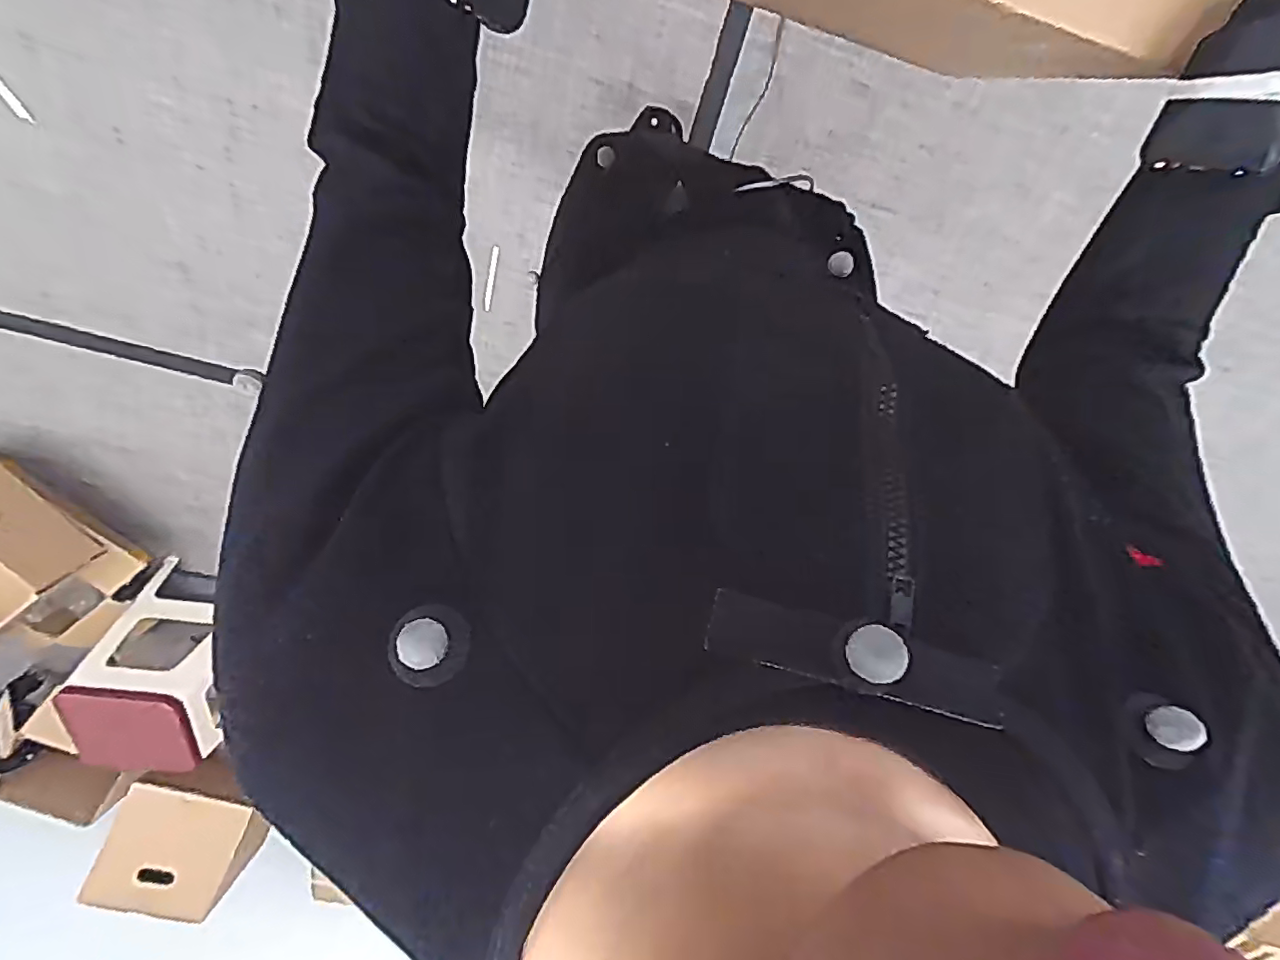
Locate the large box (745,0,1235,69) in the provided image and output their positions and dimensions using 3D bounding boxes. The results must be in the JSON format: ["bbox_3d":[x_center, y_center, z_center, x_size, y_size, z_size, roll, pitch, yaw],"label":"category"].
[{"bbox_3d":[0.168,-0.488,0.322,0.408,0.320,0.320,12,127,-9],"label":"large box"}]
